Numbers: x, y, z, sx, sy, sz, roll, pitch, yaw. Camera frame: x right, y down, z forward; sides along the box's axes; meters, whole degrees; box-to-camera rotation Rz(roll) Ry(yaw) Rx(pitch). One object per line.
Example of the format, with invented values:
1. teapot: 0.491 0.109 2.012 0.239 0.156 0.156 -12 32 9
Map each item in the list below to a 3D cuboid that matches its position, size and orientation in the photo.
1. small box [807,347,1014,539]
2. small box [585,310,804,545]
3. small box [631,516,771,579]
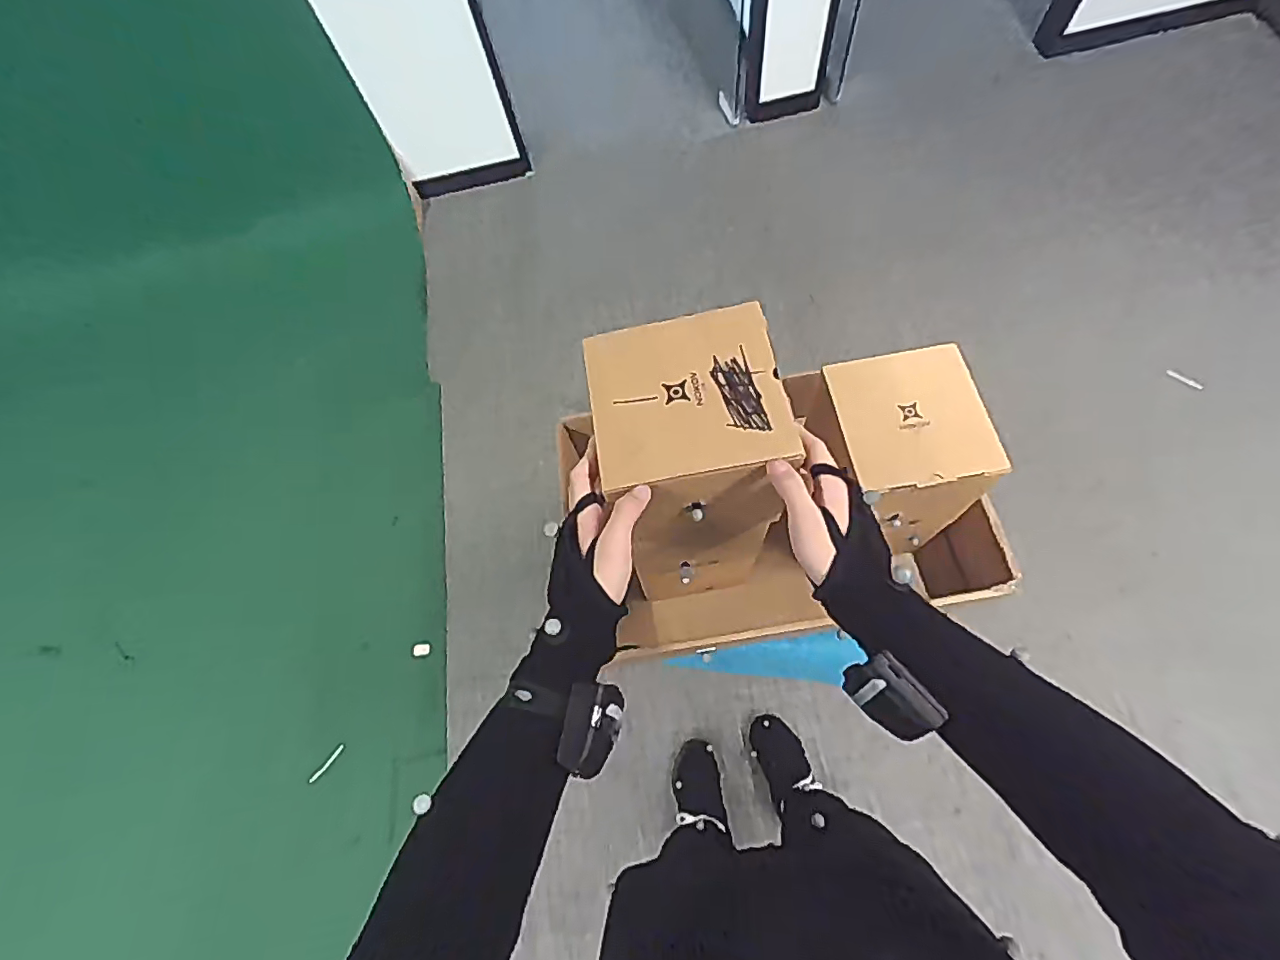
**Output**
1. small box: 0.326 -0.040 0.698 0.168 0.176 0.179 -10 66 3
2. small box: 0.050 -0.044 0.559 0.179 0.176 0.168 -10 65 3
3. small box: 0.063 0.017 0.710 0.168 0.176 0.179 -9 66 2
